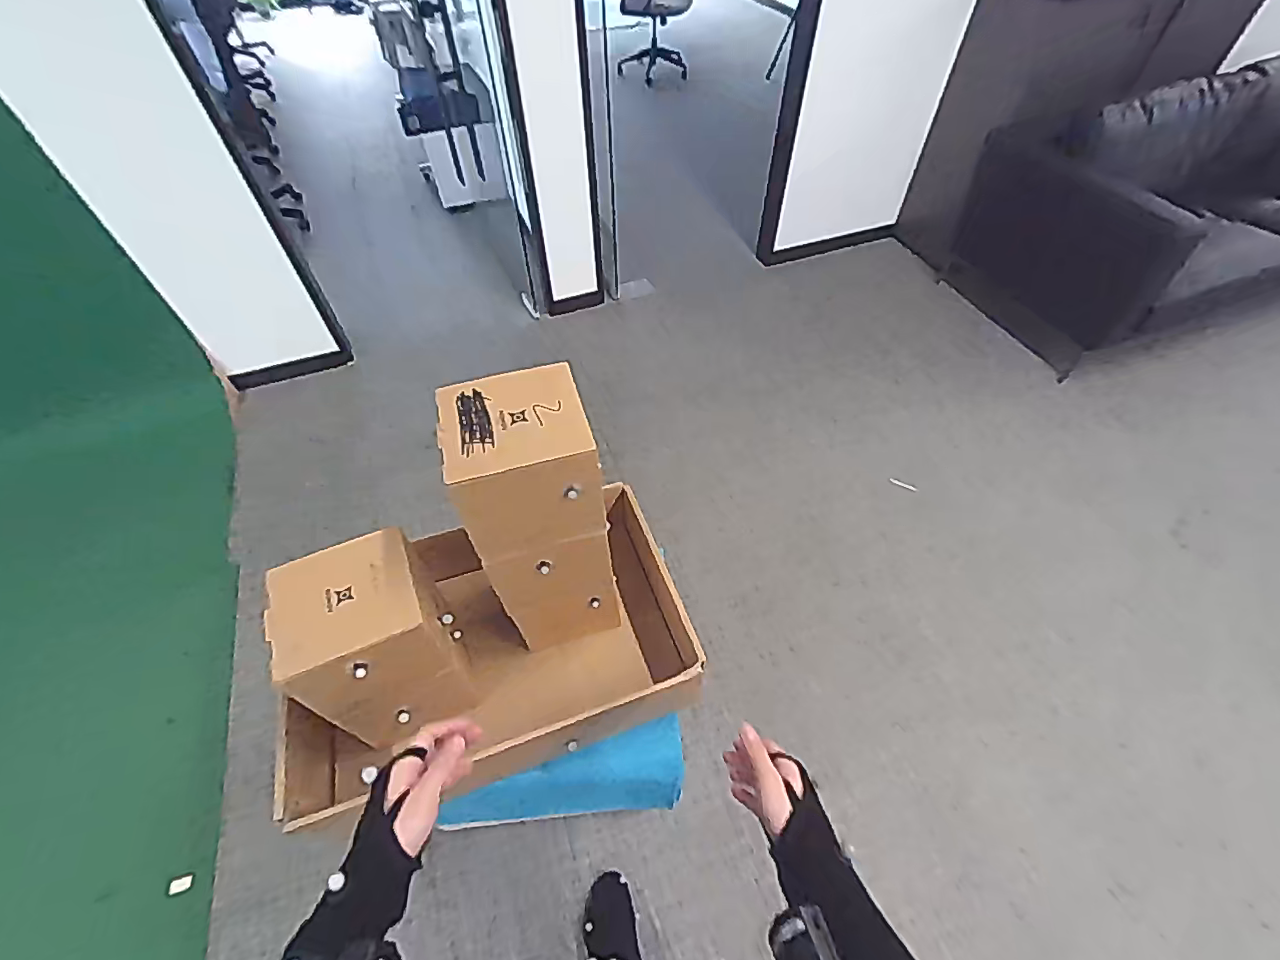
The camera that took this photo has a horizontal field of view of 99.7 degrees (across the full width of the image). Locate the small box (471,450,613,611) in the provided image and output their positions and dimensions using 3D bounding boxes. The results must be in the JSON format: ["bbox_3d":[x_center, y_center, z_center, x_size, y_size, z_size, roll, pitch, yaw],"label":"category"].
[{"bbox_3d":[-0.148,0.083,0.842,0.179,0.176,0.168,-14,53,-9],"label":"small box"}]

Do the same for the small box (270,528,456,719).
[{"bbox_3d":[-0.377,0.202,0.751,0.179,0.176,0.168,-19,53,-16],"label":"small box"}]
